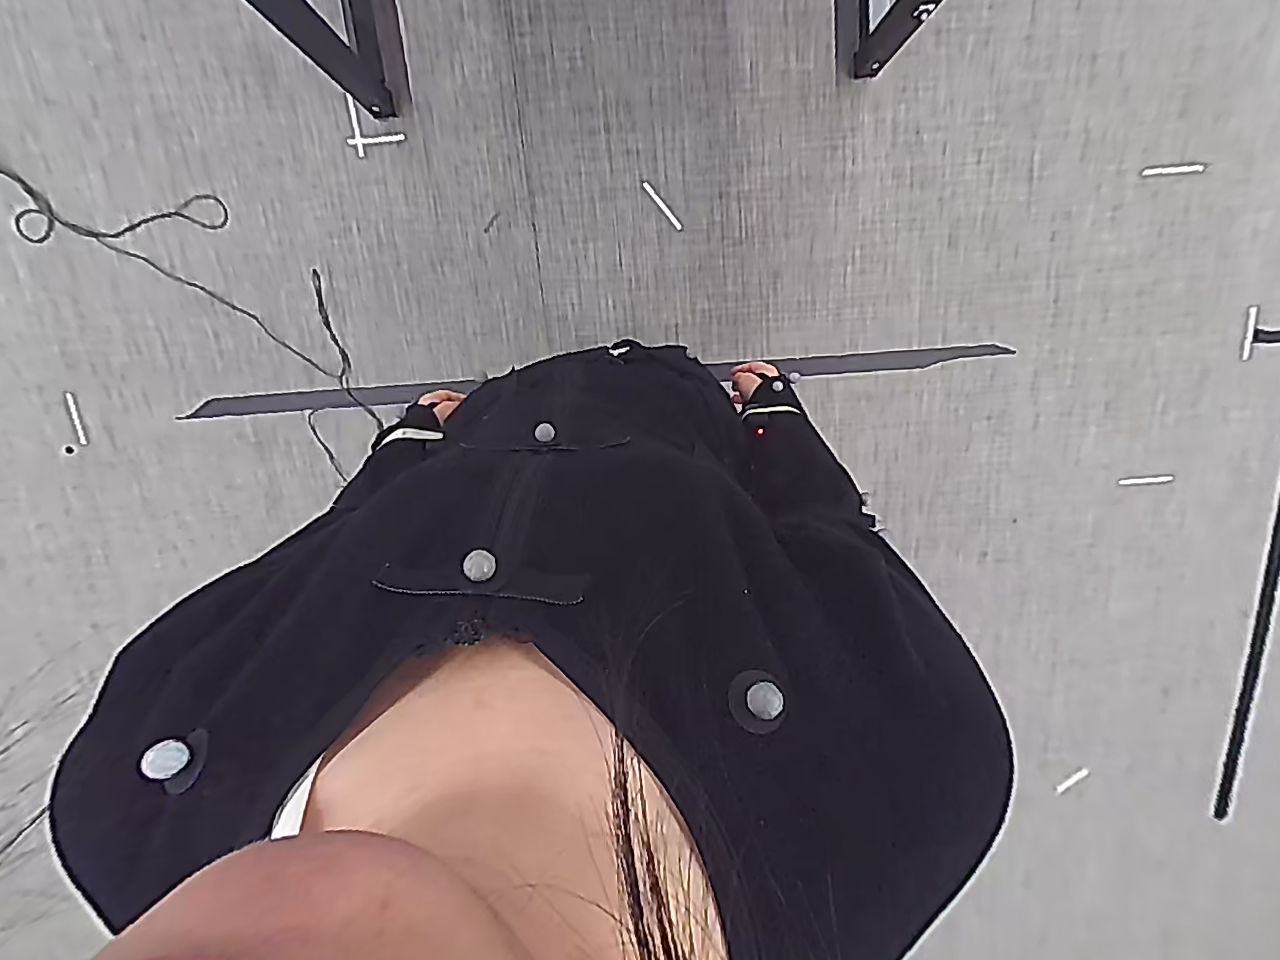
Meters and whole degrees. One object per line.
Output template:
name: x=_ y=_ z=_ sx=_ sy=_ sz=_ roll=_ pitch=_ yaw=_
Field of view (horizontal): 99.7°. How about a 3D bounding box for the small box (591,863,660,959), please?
small box: x=-0.037 y=1.217 z=1.505 sx=0.168 sy=0.176 sz=0.179 roll=-9 pitch=104 yaw=0
